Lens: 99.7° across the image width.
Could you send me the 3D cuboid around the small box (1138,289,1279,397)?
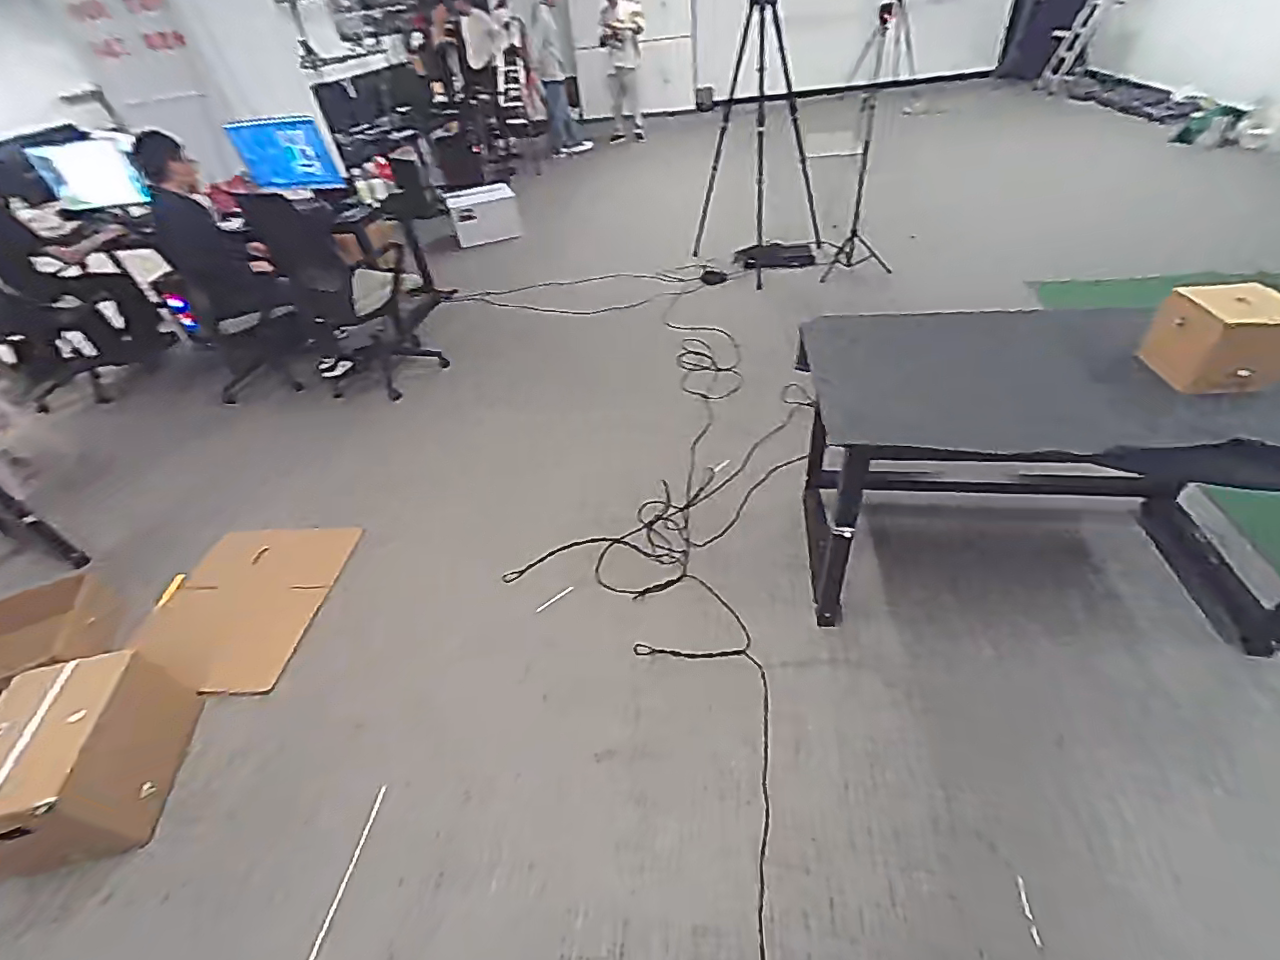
[{"bbox_3d":[1.244,-0.294,1.166,0.168,0.176,0.179,-1,42,9],"label":"small box"}]
